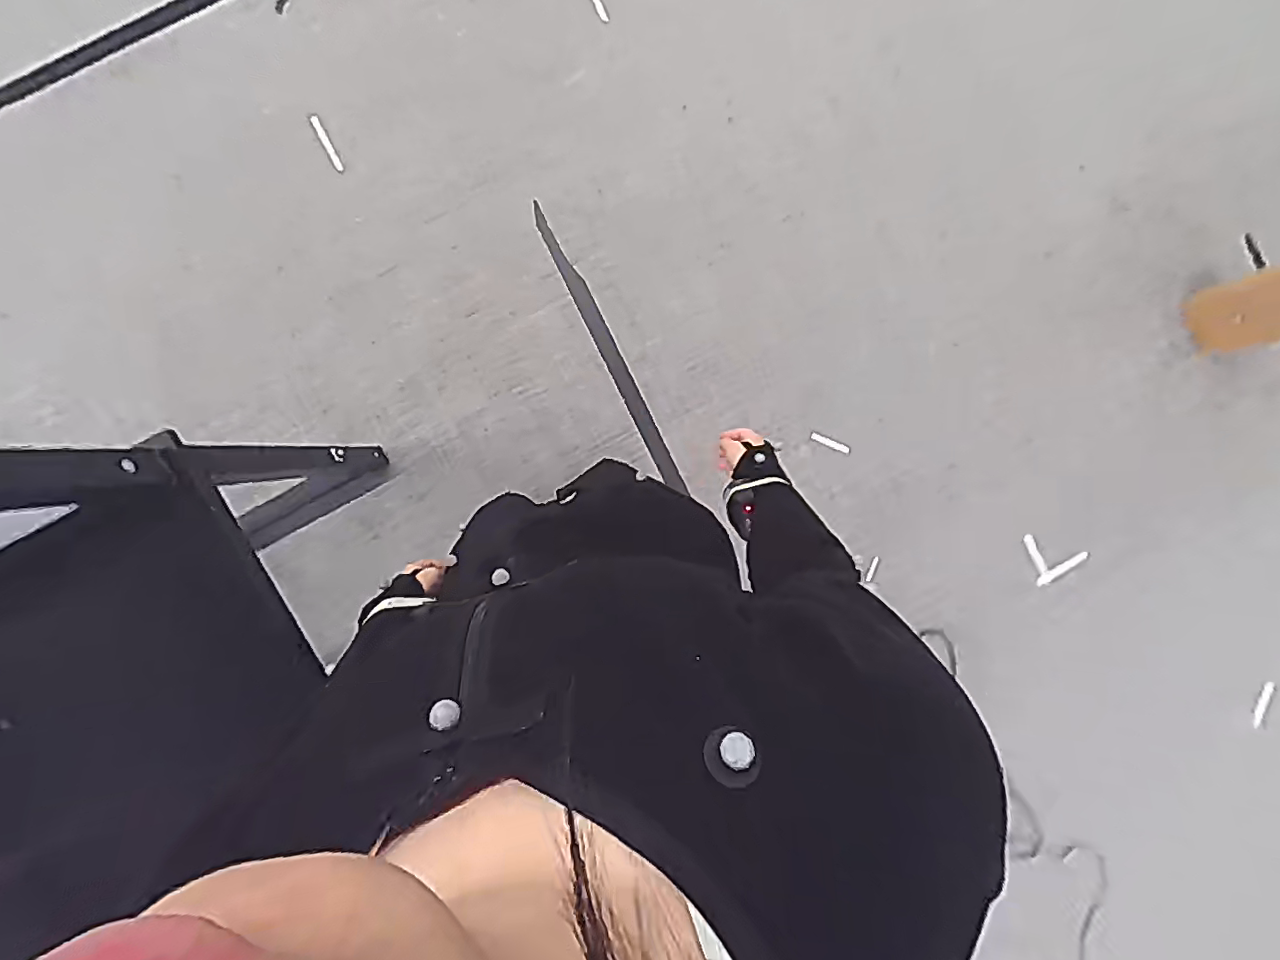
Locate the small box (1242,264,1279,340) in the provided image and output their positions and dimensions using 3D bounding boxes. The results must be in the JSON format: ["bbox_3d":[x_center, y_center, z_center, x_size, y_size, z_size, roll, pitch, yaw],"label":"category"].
[{"bbox_3d":[1.692,-0.476,1.356,0.168,0.176,0.179,-25,94,-2],"label":"small box"}]

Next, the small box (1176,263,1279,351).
[{"bbox_3d":[1.688,-0.478,1.520,0.168,0.176,0.179,-28,94,-2],"label":"small box"}]
